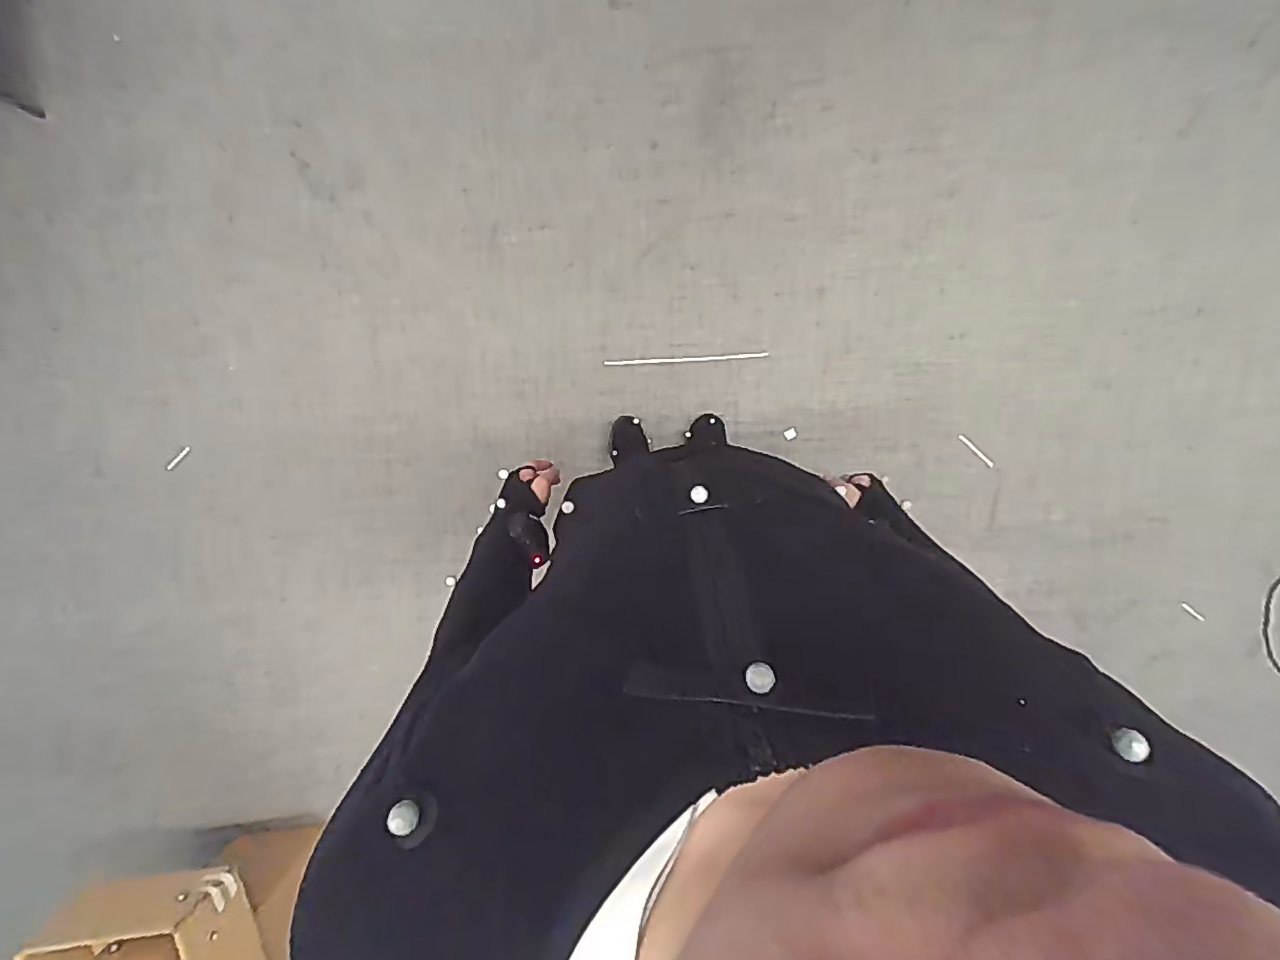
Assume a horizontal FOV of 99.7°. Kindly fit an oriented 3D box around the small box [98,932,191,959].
[{"bbox_3d":[-1.206,1.215,1.270,0.179,0.176,0.168,-7,98,1],"label":"small box"}]
